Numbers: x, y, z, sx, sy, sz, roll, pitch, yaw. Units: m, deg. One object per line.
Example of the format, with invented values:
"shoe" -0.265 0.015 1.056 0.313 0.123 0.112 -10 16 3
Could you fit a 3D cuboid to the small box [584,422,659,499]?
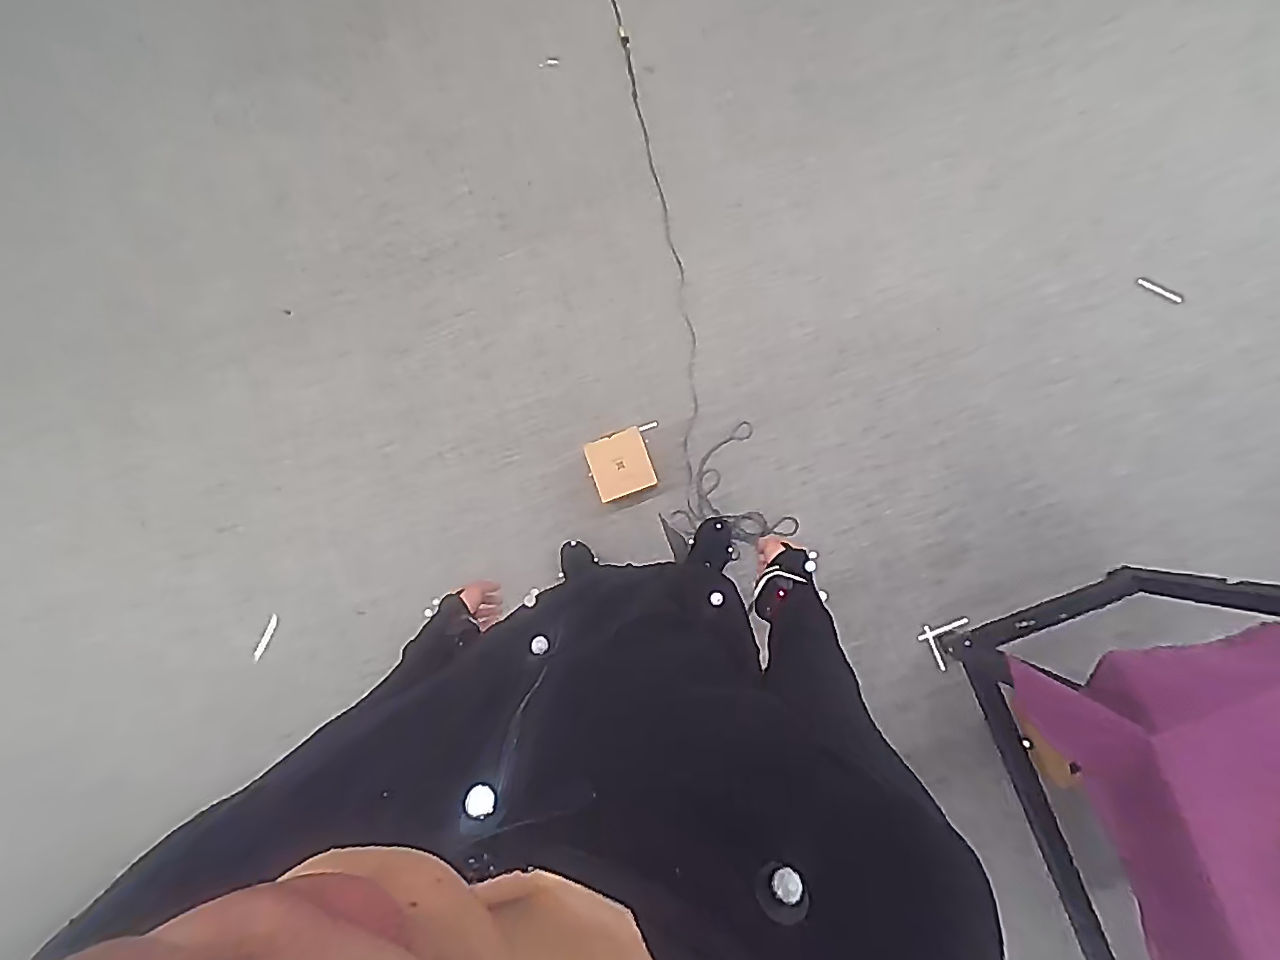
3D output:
"small box" -0.049 -0.049 1.577 0.168 0.176 0.179 -20 86 3
